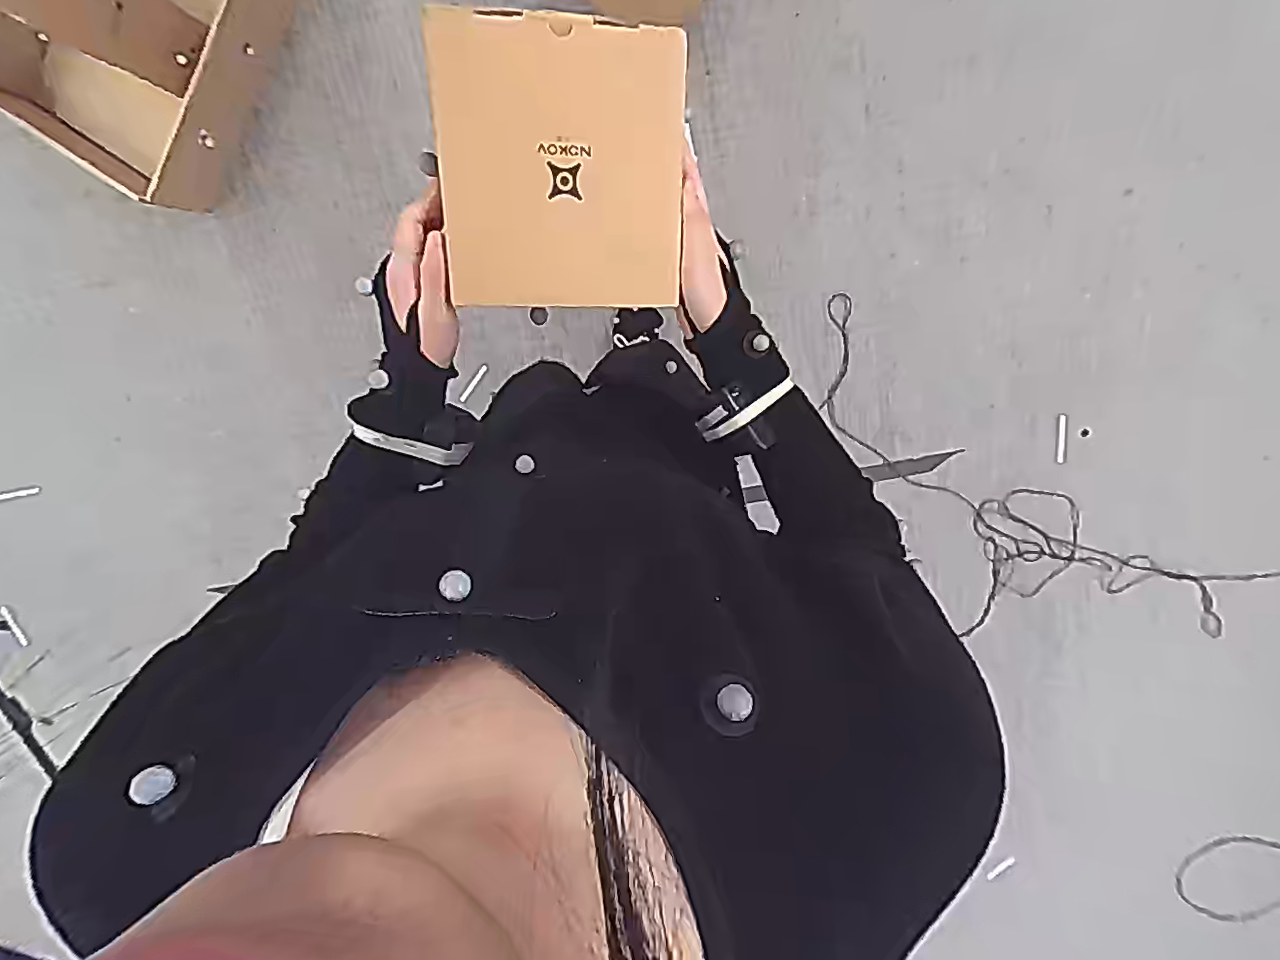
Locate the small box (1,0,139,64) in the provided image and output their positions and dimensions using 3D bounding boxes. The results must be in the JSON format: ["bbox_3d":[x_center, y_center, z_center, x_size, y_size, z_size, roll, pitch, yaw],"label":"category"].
[{"bbox_3d":[-1.040,-0.877,0.942,0.179,0.176,0.168,30,104,-8],"label":"small box"}]

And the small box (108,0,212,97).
[{"bbox_3d":[-1.036,-0.929,1.096,0.179,0.176,0.168,34,104,-11],"label":"small box"}]

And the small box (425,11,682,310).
[{"bbox_3d":[-0.067,-0.234,0.445,0.168,0.176,0.179,-3,108,-10],"label":"small box"}]
